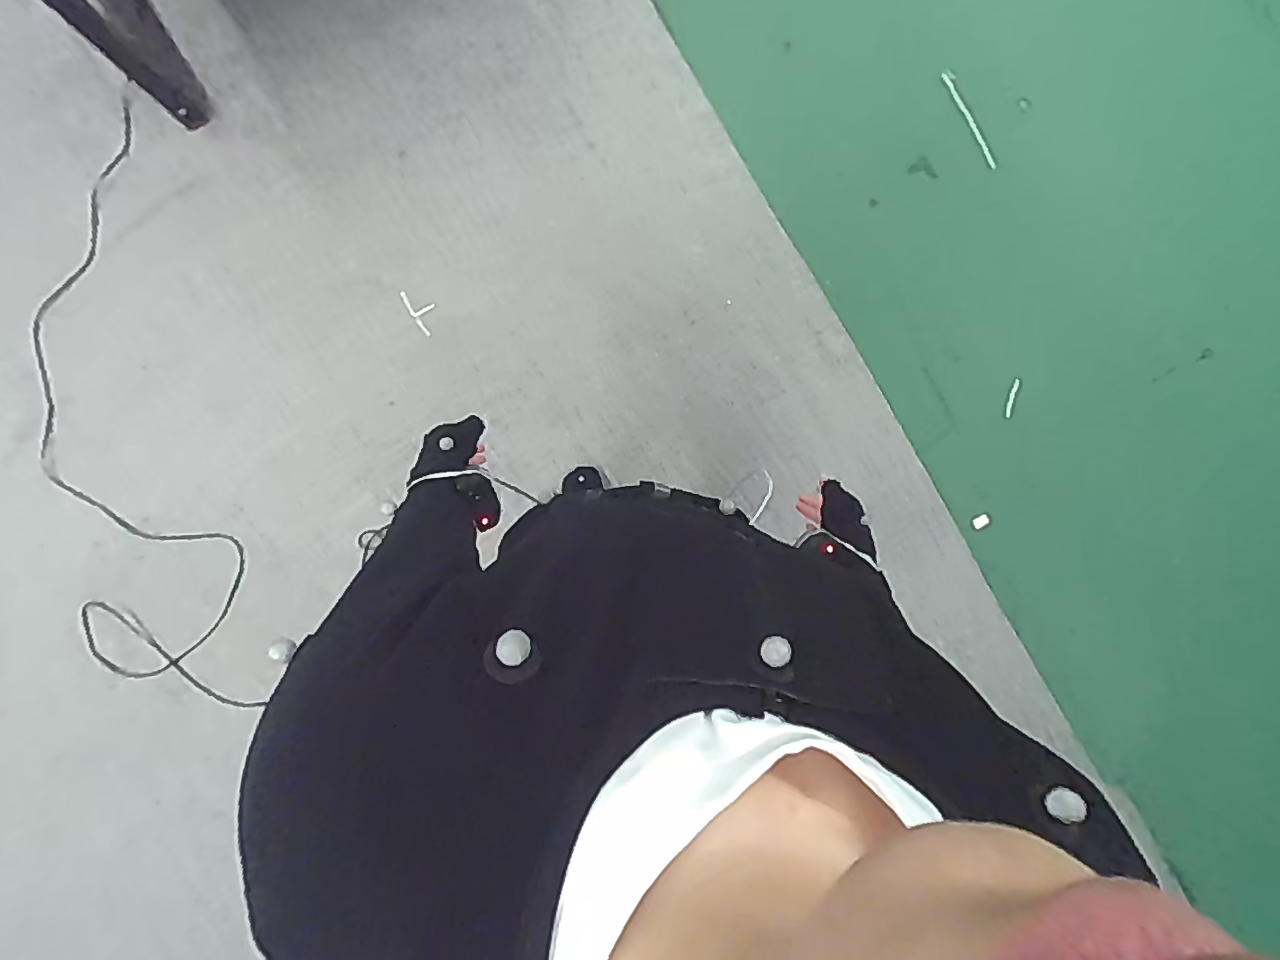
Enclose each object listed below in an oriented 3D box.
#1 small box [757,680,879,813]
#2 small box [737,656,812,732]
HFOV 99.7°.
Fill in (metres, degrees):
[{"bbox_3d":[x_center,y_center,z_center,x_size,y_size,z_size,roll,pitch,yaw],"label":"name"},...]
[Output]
[{"bbox_3d":[0.396,0.595,1.230,0.168,0.176,0.179,-35,95,-4],"label":"small box"},{"bbox_3d":[0.378,0.589,1.392,0.168,0.176,0.179,-34,95,-5],"label":"small box"}]
